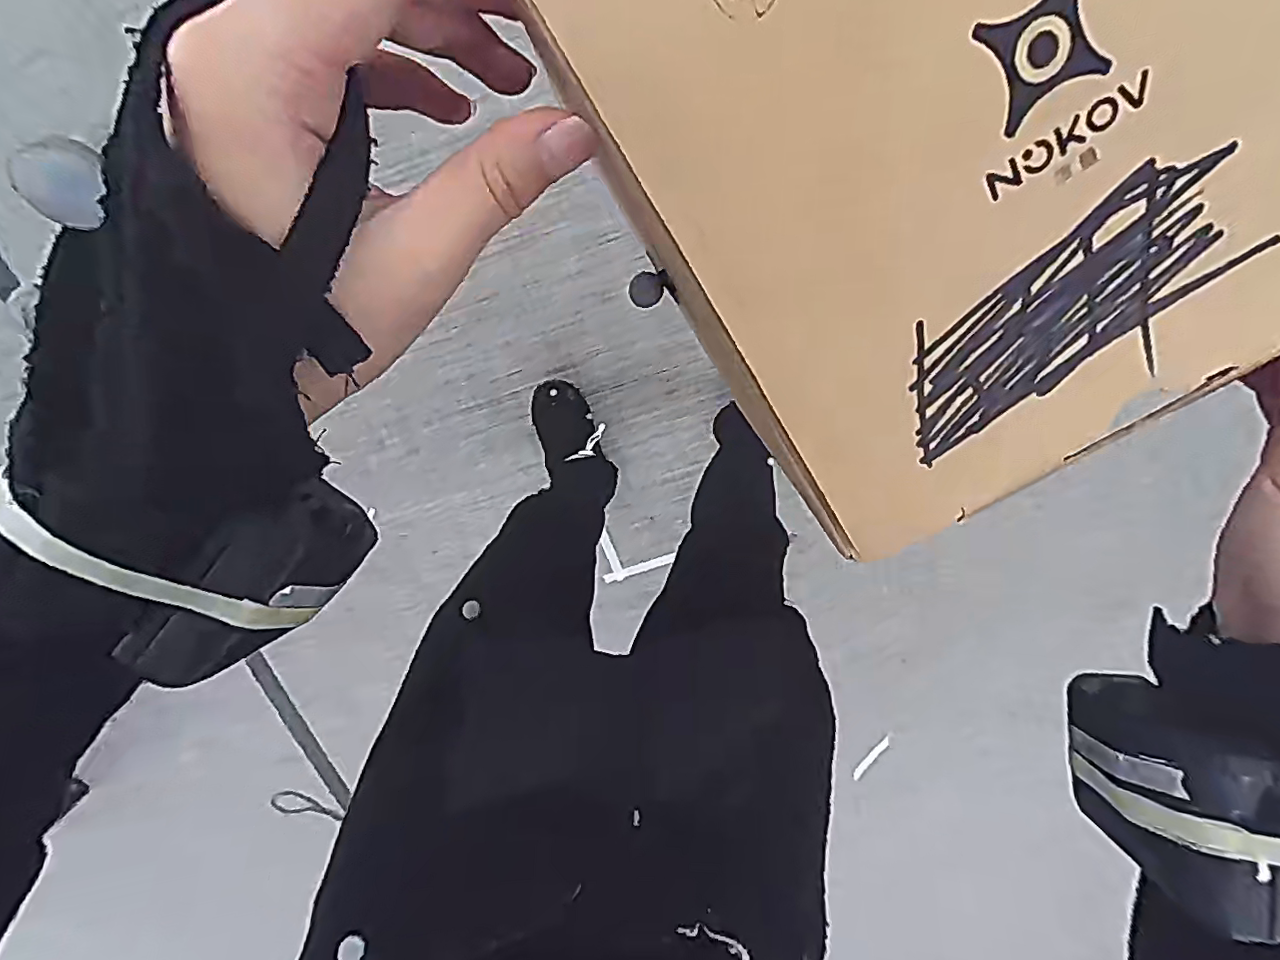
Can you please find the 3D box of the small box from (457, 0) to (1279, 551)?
[{"bbox_3d":[0.069,-0.116,0.184,0.168,0.176,0.179,-33,110,11],"label":"small box"}]
